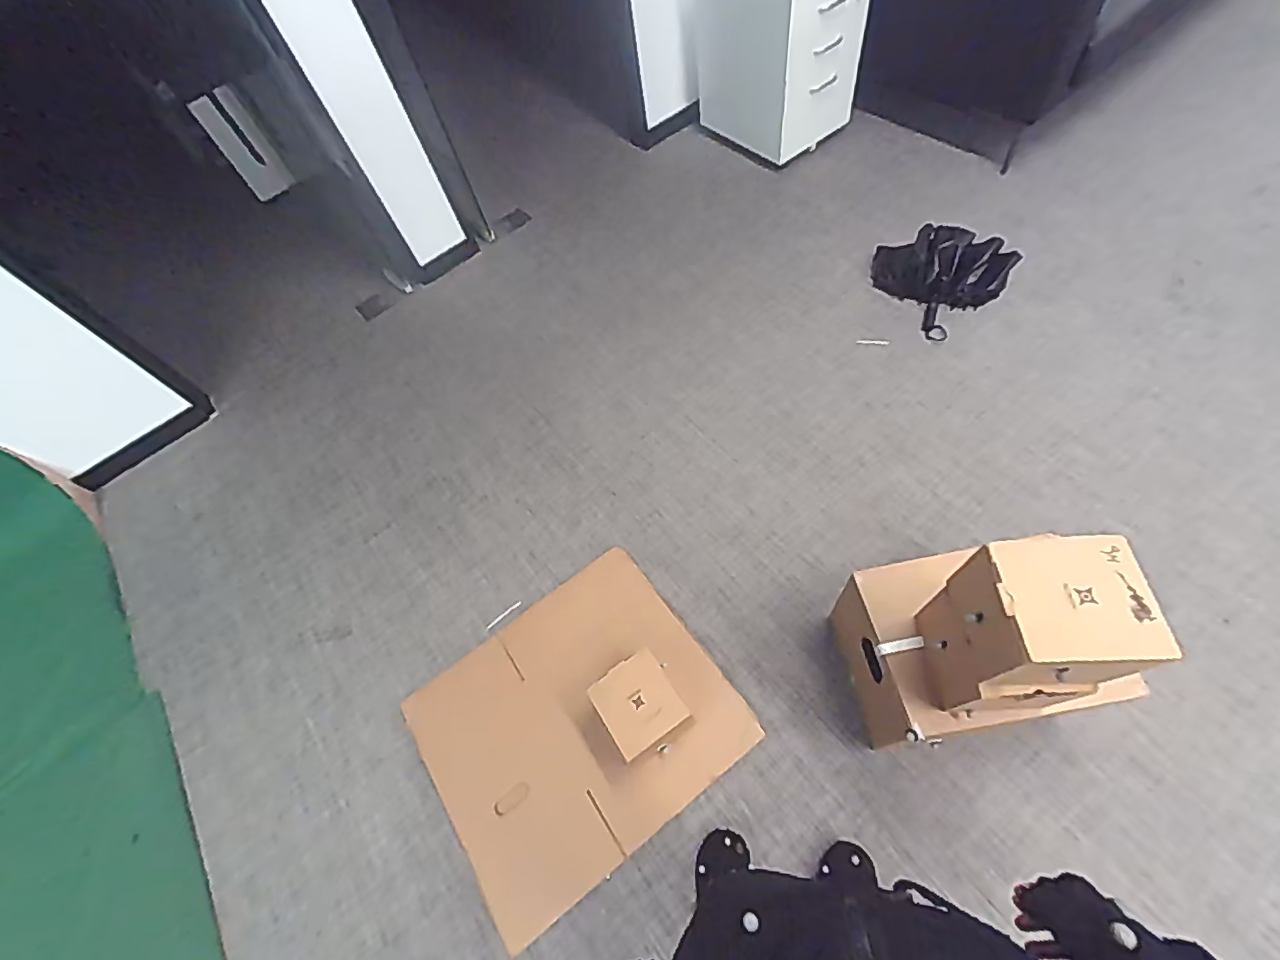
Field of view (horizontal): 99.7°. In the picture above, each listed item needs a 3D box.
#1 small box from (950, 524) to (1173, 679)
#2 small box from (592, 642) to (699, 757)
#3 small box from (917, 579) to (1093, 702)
[{"bbox_3d":[0.574,0.181,0.774,0.179,0.176,0.168,-6,58,5],"label":"small box"},{"bbox_3d":[0.016,0.501,1.223,0.168,0.176,0.179,-35,61,-9],"label":"small box"},{"bbox_3d":[0.593,0.270,0.907,0.168,0.176,0.179,-6,60,7],"label":"small box"}]
